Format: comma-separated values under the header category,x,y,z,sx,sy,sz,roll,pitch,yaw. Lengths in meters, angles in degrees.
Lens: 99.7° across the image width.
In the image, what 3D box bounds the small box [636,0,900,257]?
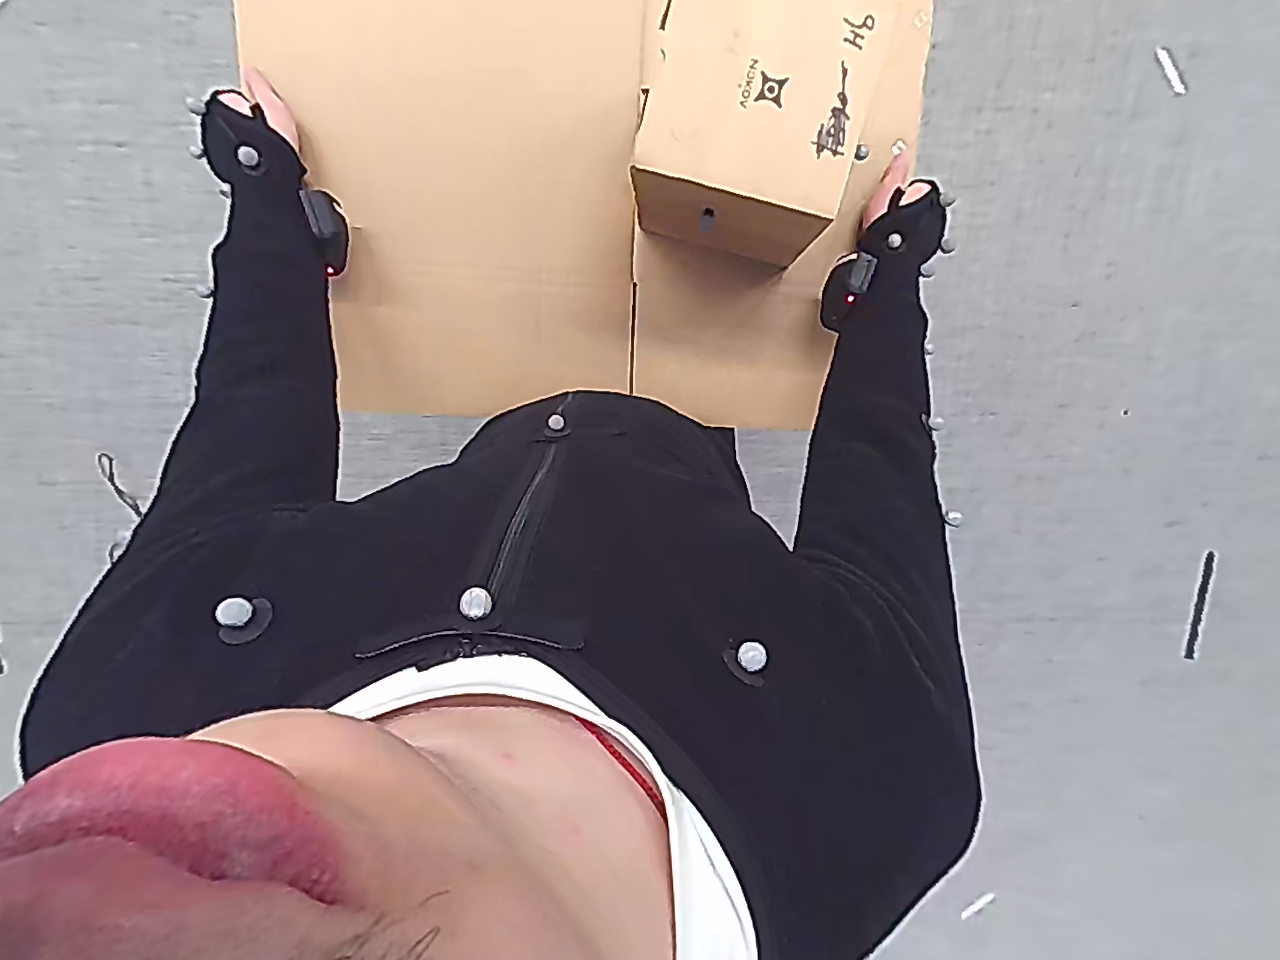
category,x,y,z,sx,sy,sz,roll,pitch,yaw
small box,0.105,-0.330,0.514,0.179,0.176,0.168,15,99,1
